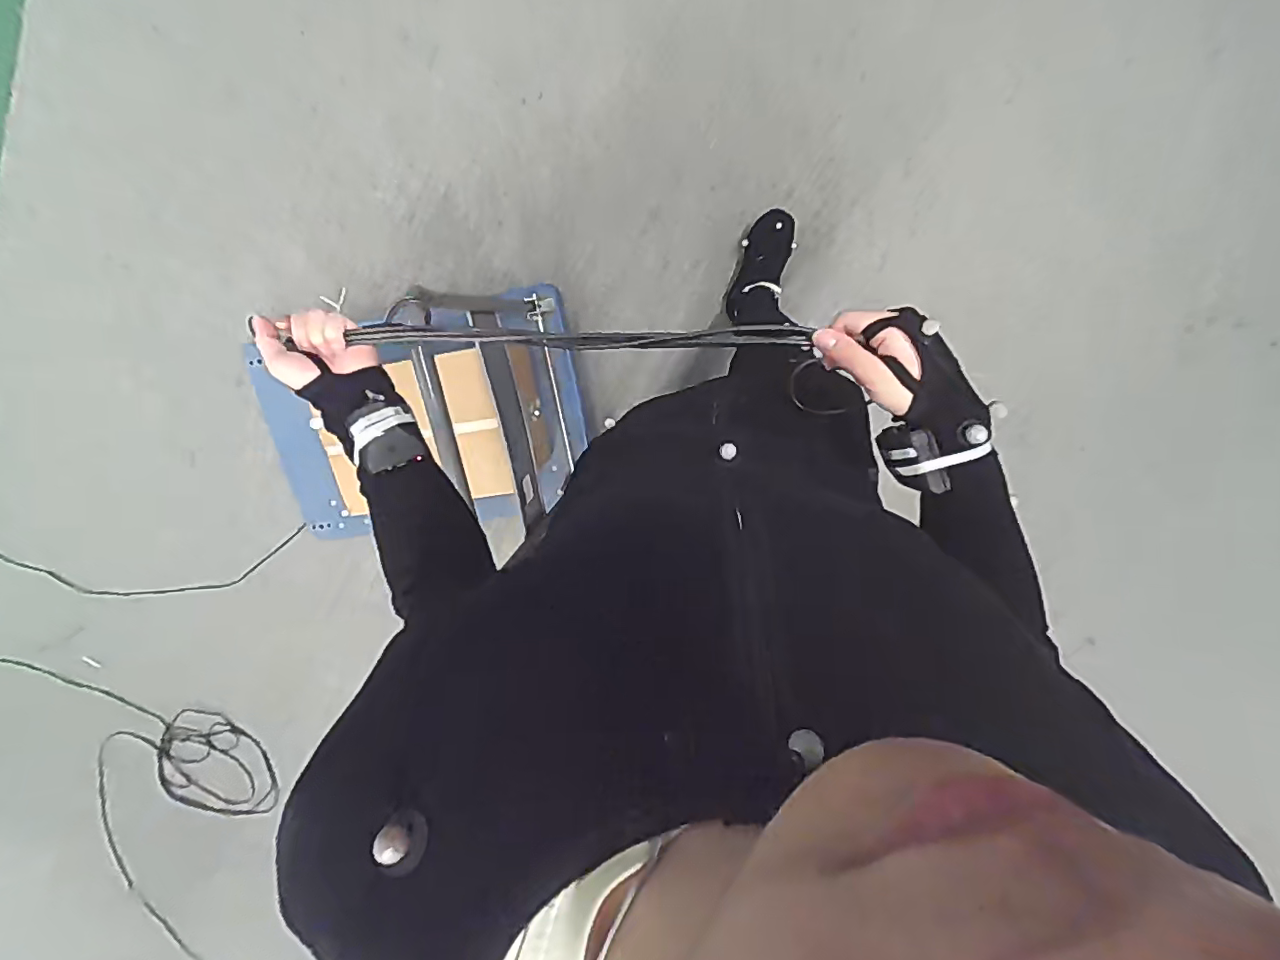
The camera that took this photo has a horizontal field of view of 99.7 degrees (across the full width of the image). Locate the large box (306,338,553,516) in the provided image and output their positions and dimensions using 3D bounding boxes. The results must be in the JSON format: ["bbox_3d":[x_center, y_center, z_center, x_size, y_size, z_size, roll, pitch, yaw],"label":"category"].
[{"bbox_3d":[-0.463,-0.137,1.280,0.408,0.320,0.320,-8,105,8],"label":"large box"}]
